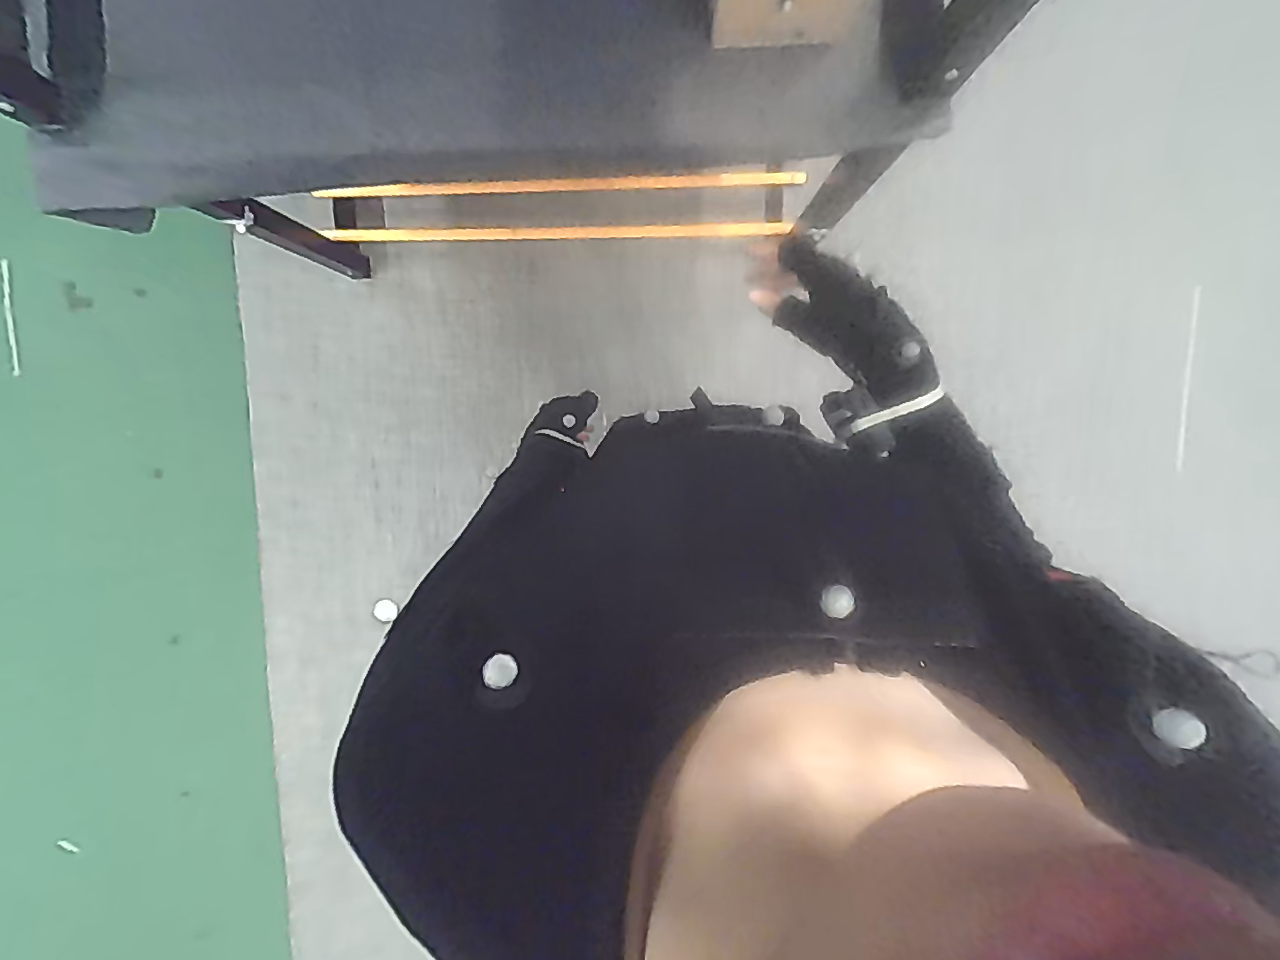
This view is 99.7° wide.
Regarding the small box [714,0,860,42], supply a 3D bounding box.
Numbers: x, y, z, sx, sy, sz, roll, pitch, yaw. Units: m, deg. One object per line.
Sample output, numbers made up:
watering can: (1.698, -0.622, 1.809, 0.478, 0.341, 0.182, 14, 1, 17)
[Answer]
small box: (0.171, -0.621, 0.590, 0.168, 0.176, 0.179, 0, 96, 2)
